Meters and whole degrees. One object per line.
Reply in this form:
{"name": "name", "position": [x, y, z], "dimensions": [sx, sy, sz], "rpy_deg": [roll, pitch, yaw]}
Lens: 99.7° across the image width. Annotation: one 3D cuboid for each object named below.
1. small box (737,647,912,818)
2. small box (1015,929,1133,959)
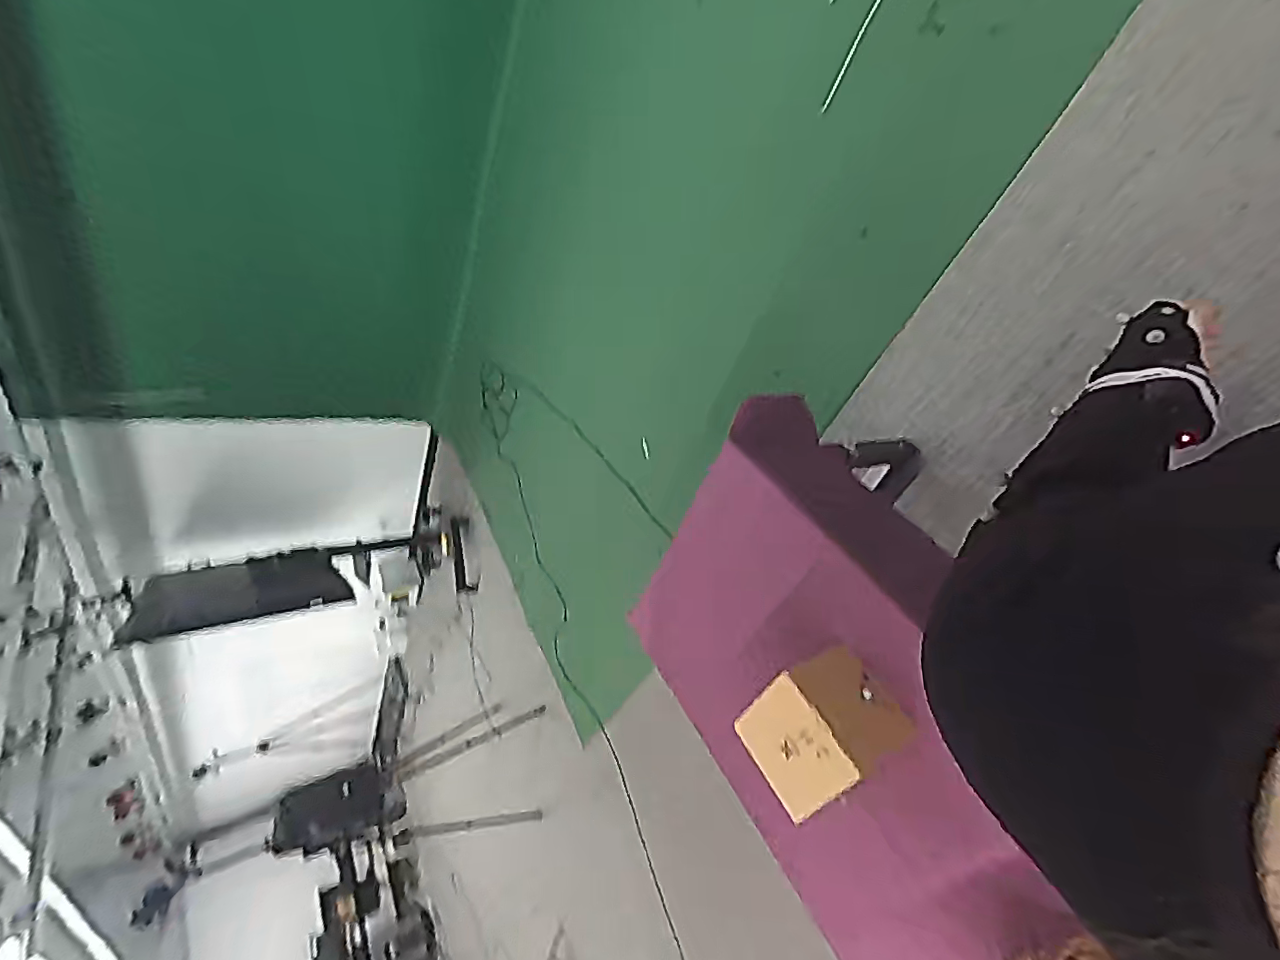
{"name": "small box", "position": [0.298, 0.403, 0.880], "dimensions": [0.168, 0.176, 0.179], "rpy_deg": [53, 133, 34]}
{"name": "small box", "position": [0.521, 0.668, 0.619], "dimensions": [0.168, 0.176, 0.179], "rpy_deg": [51, 133, 37]}
